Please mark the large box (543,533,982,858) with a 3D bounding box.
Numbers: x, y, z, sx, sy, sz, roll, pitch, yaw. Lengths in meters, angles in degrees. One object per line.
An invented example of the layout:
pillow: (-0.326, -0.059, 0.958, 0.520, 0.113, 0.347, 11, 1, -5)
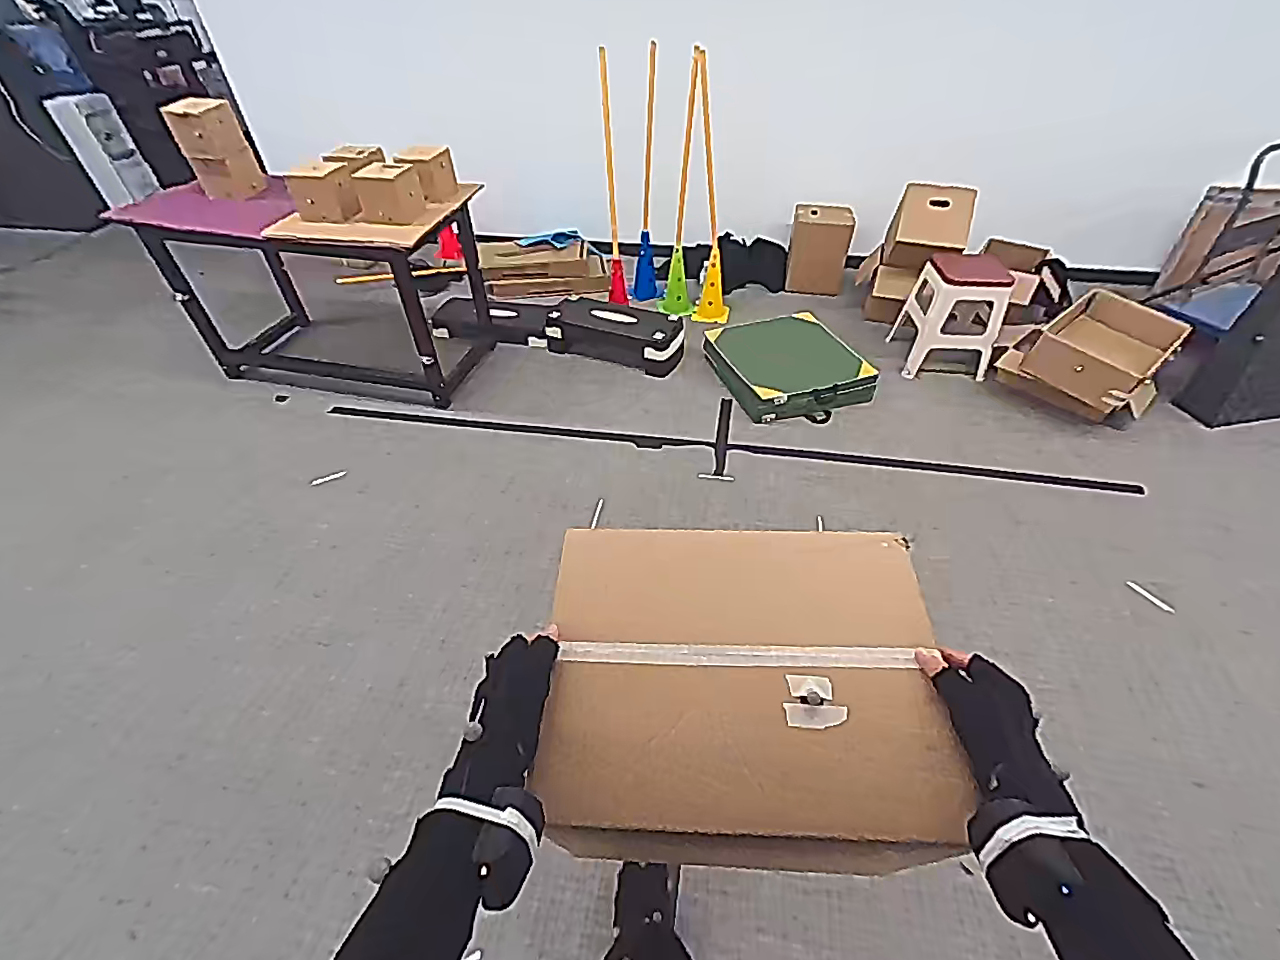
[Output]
large box: (0.116, 0.280, 0.693, 0.408, 0.320, 0.320, 0, 51, 4)
